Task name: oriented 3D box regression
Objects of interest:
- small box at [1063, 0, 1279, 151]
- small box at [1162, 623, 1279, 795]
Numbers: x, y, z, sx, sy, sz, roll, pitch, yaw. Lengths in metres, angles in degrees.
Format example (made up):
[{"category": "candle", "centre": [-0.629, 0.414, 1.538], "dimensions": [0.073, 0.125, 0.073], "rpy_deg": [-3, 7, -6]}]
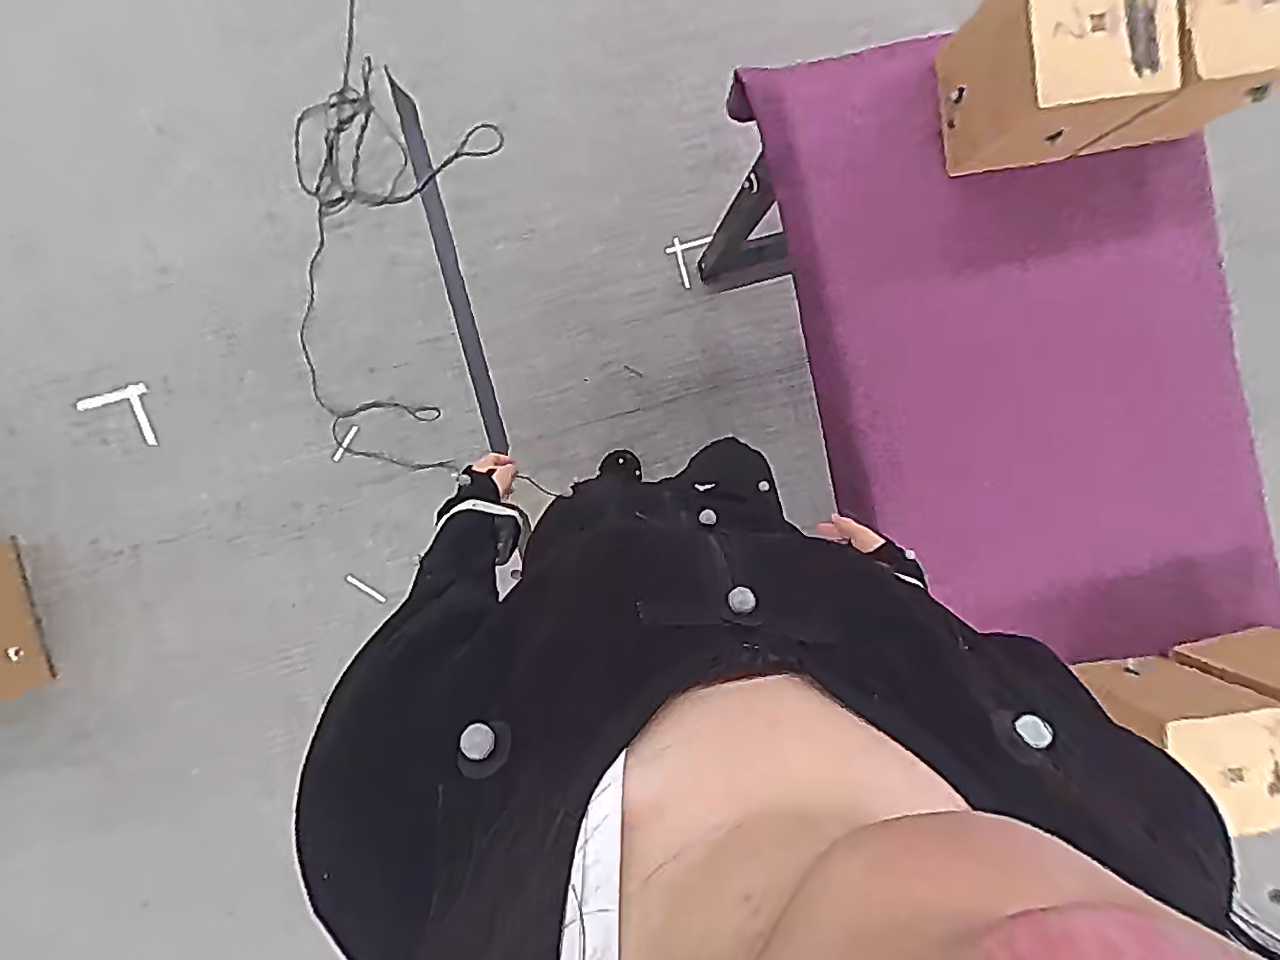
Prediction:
[{"category": "small box", "centre": [0.700, -0.559, 0.697], "dimensions": [0.179, 0.176, 0.168], "rpy_deg": [-11, 95, -3]}, {"category": "small box", "centre": [0.928, 0.326, 0.790], "dimensions": [0.179, 0.176, 0.168], "rpy_deg": [-11, 96, -5]}]
